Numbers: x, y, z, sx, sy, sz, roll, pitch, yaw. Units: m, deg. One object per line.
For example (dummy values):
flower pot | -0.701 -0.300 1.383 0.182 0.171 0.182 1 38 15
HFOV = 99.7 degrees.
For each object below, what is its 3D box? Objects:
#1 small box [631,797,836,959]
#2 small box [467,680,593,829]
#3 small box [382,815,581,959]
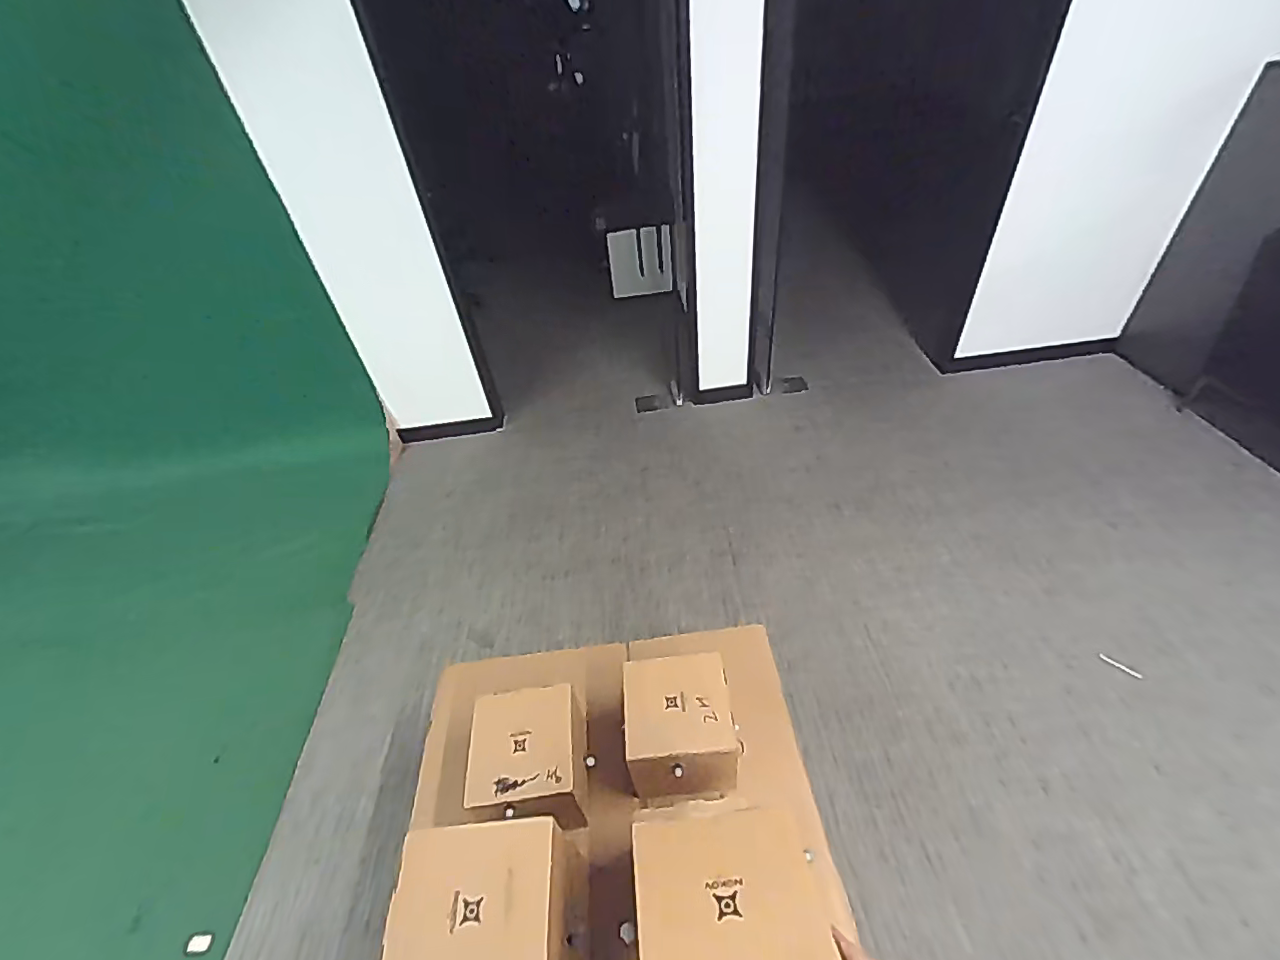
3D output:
small box | 0.085 0.451 0.519 0.168 0.176 0.179 -8 19 -1
small box | -0.176 0.471 0.915 0.168 0.176 0.179 -10 41 0
small box | -0.171 0.513 0.629 0.179 0.176 0.168 -6 44 1
